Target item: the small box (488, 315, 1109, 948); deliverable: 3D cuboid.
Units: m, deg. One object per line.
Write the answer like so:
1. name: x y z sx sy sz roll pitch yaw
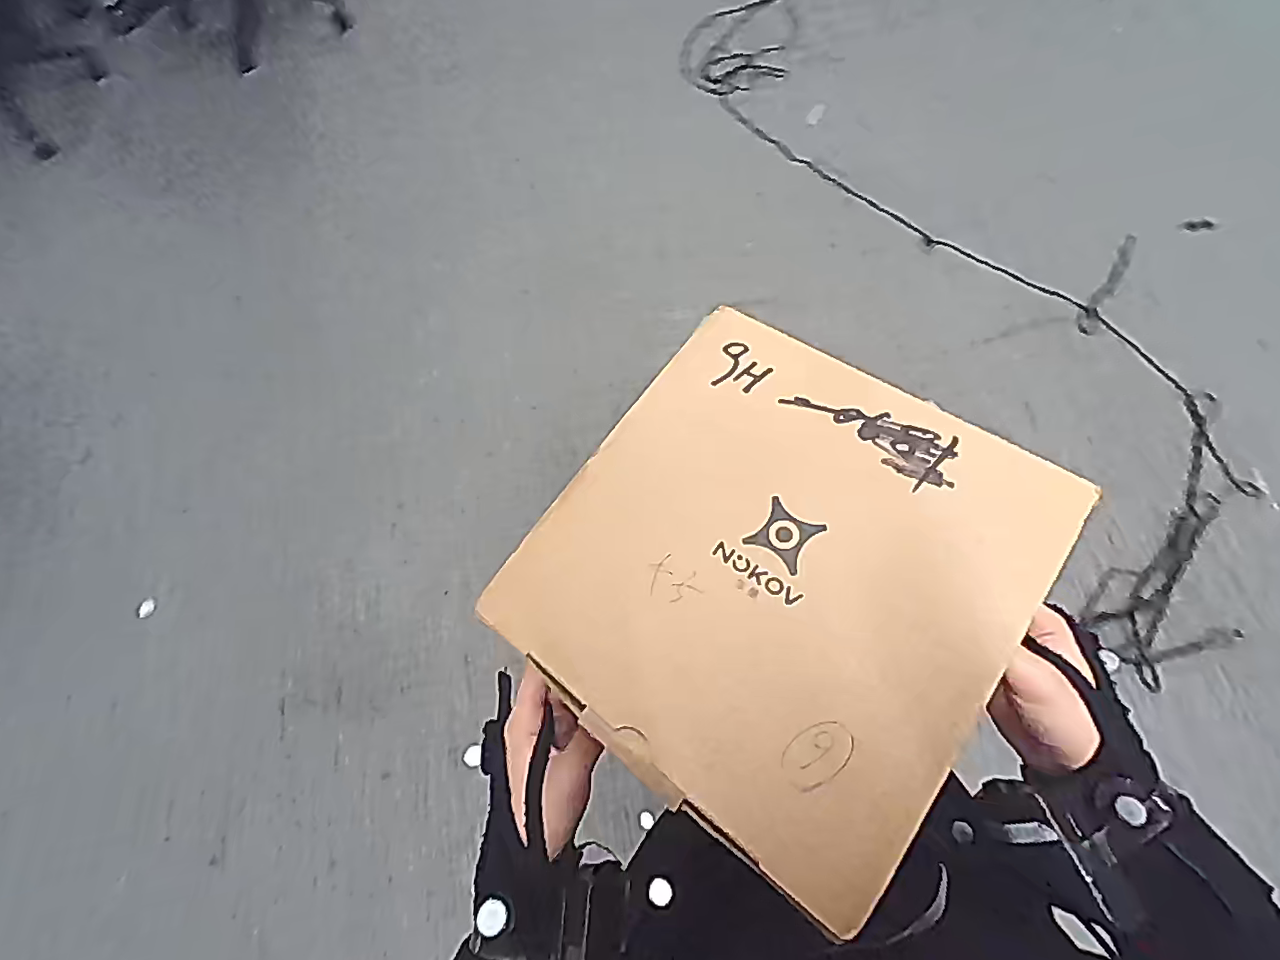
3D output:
1. small box: 0.066 0.061 0.275 0.168 0.176 0.179 35 78 22
